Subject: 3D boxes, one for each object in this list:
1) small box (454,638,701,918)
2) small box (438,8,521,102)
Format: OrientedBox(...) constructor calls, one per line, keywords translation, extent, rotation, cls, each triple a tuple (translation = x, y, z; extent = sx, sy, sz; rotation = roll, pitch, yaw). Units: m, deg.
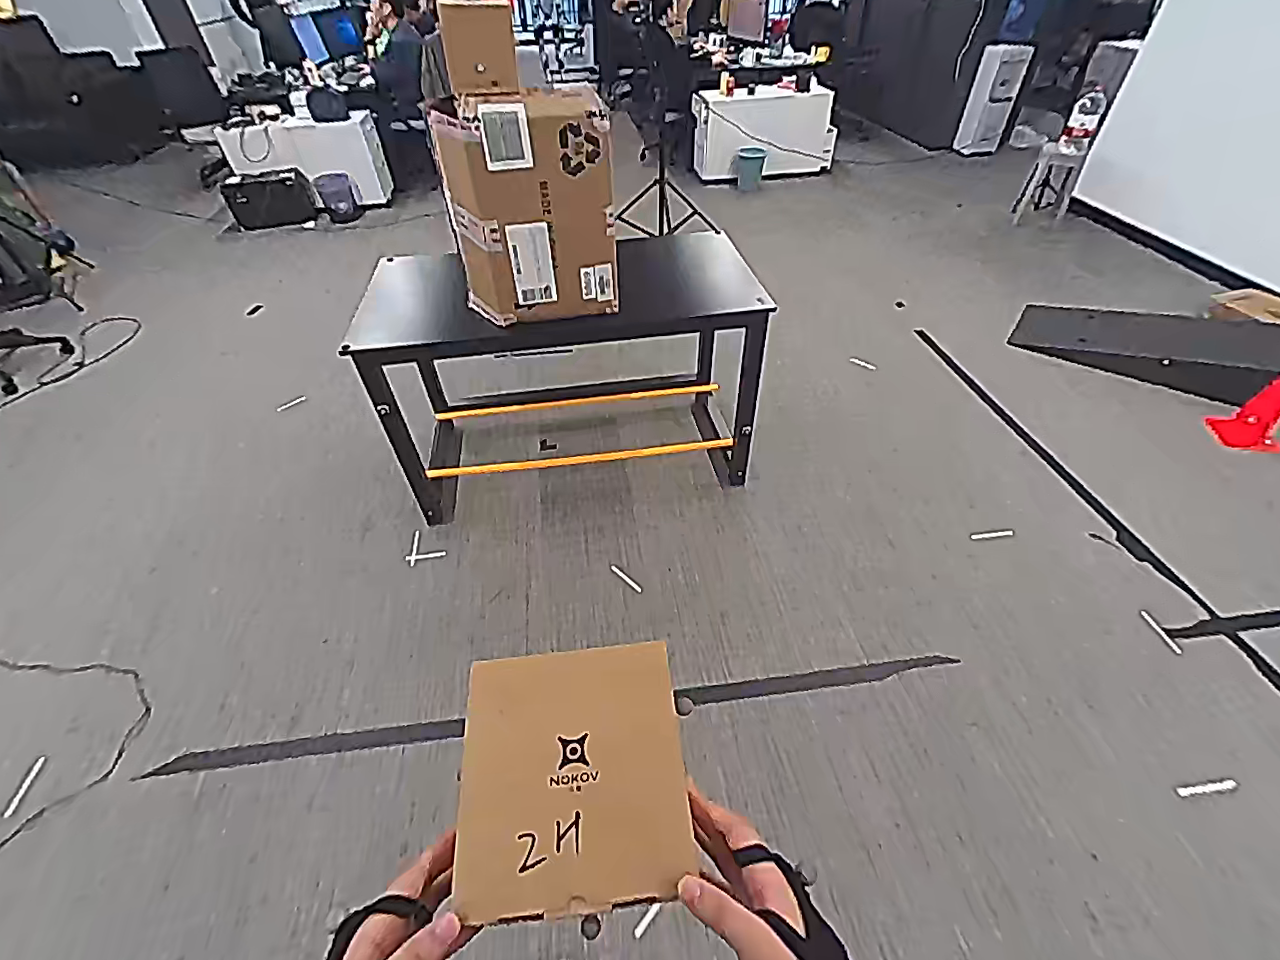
OrientedBox(translation=(-0.047, 0.259, 0.469), extent=(0.168, 0.176, 0.179), rotation=(-6, 51, -3), cls="small box")
OrientedBox(translation=(-0.389, -1.044, 1.327), extent=(0.168, 0.176, 0.179), rotation=(-9, 43, -11), cls="small box")
